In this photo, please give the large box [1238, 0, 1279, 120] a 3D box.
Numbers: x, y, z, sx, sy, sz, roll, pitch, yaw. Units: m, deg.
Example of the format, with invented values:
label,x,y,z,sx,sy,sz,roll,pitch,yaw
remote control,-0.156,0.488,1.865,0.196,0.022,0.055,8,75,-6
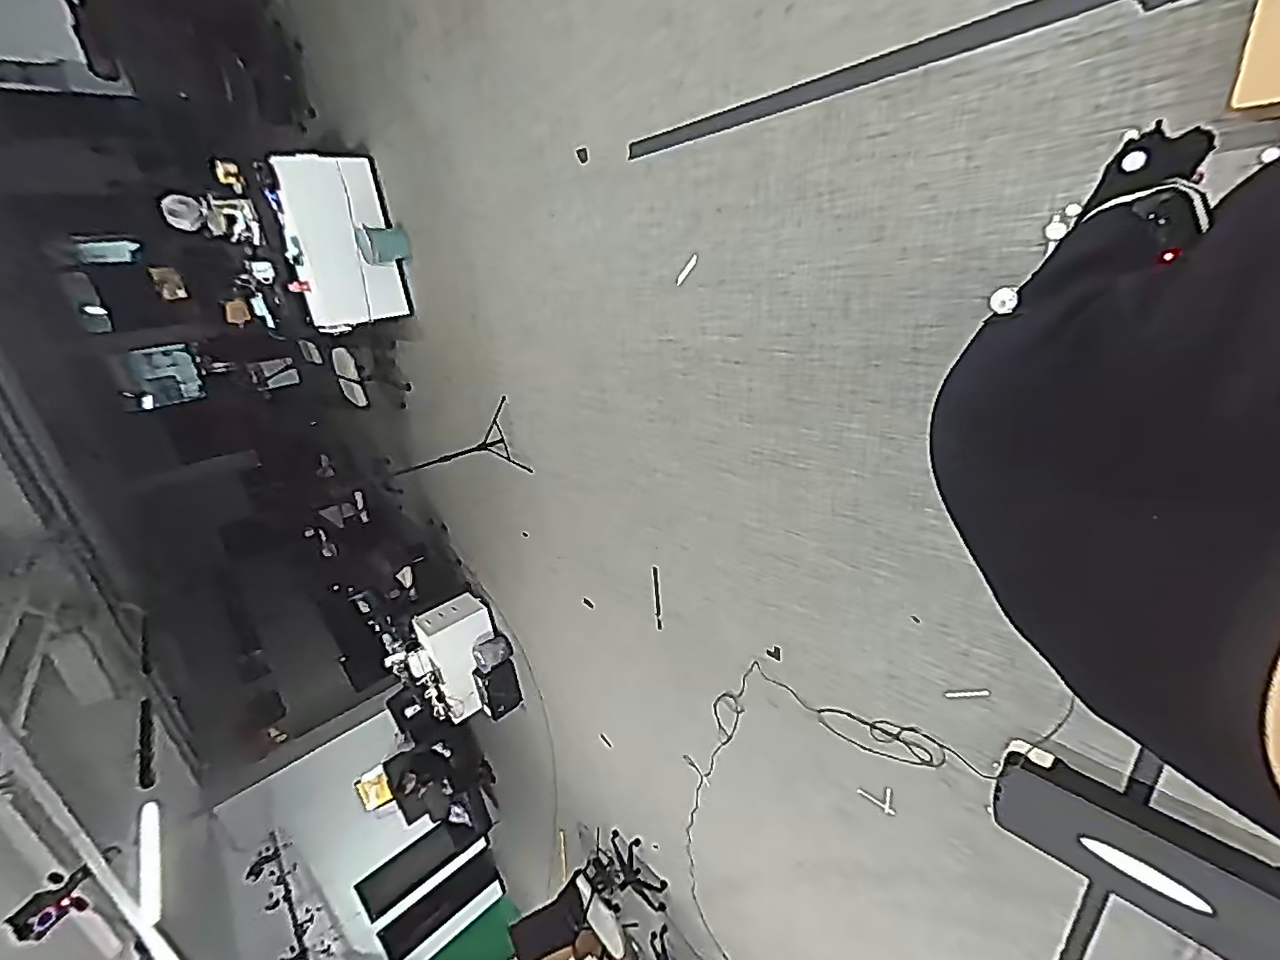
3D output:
label,x,y,z,sx,sy,sz,roll,pitch,yaw
large box,1.036,-0.659,0.631,0.408,0.320,0.320,18,123,44
